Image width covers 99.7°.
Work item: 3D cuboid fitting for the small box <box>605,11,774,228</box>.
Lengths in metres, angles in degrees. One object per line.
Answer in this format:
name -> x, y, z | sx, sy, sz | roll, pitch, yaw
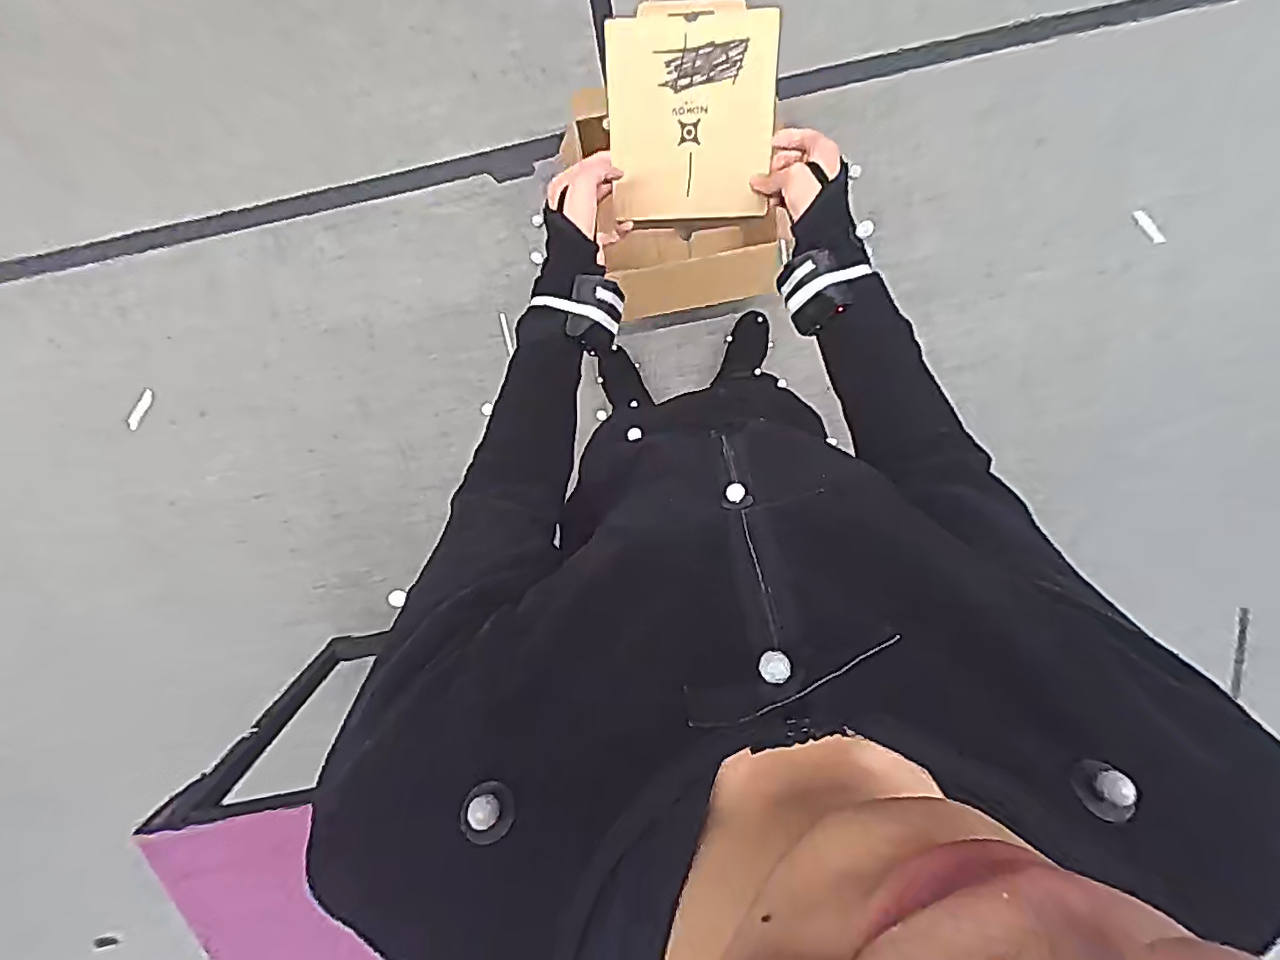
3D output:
small box -> 0.056, -0.393, 0.622 | 0.168, 0.176, 0.179 | 0, 114, 7
